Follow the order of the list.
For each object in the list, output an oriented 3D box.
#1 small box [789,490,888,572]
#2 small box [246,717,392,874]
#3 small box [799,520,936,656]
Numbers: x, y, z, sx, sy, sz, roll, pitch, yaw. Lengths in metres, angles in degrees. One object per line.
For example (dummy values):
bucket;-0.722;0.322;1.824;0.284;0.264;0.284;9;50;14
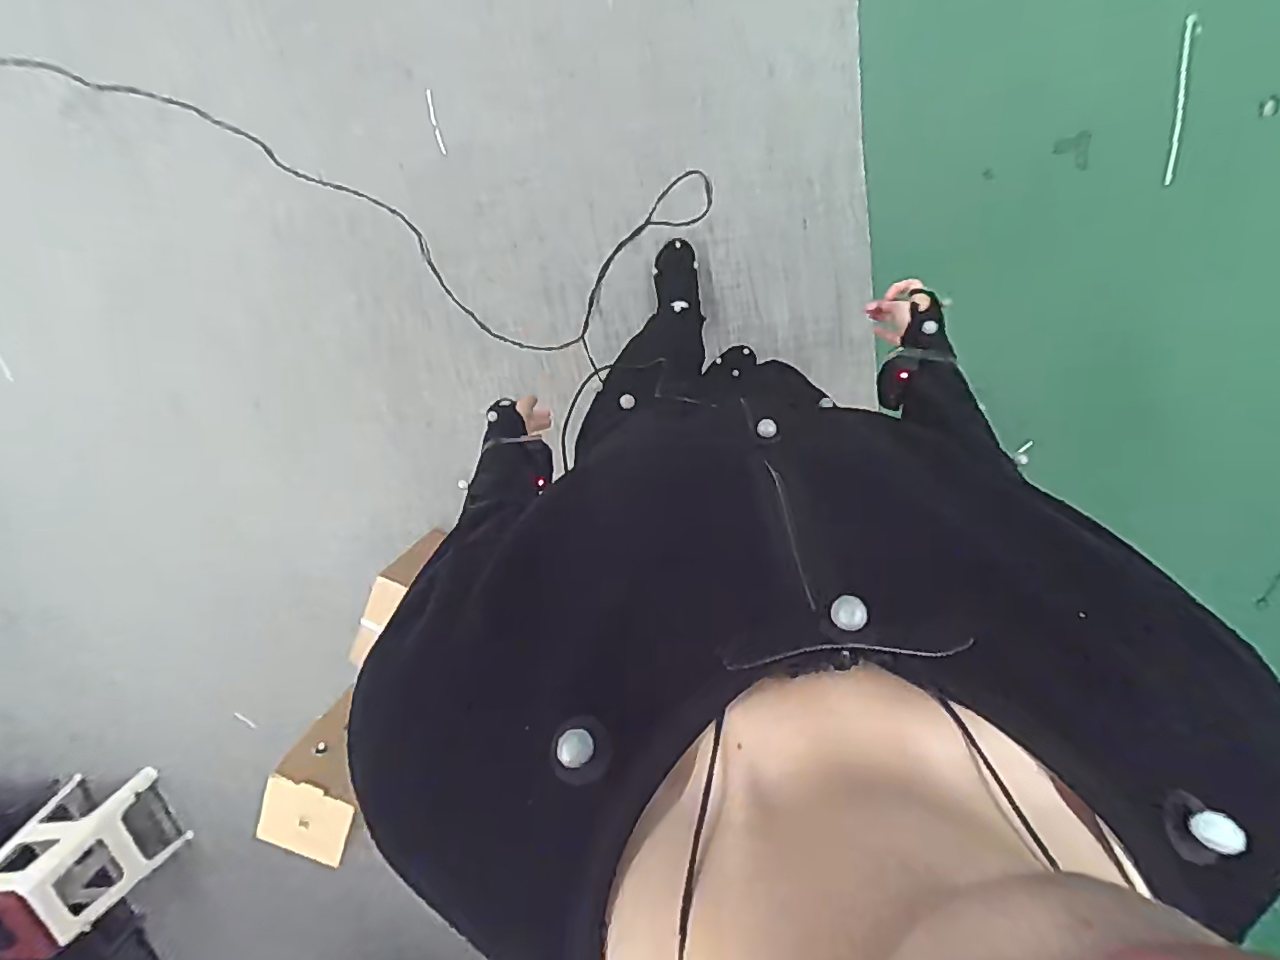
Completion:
small box;0.423;0.132;1.139;0.168;0.176;0.179;-16;105;11
small box;-0.607;0.597;1.041;0.168;0.176;0.179;23;110;-2
small box;0.407;0.189;0.988;0.179;0.176;0.168;-14;106;11
